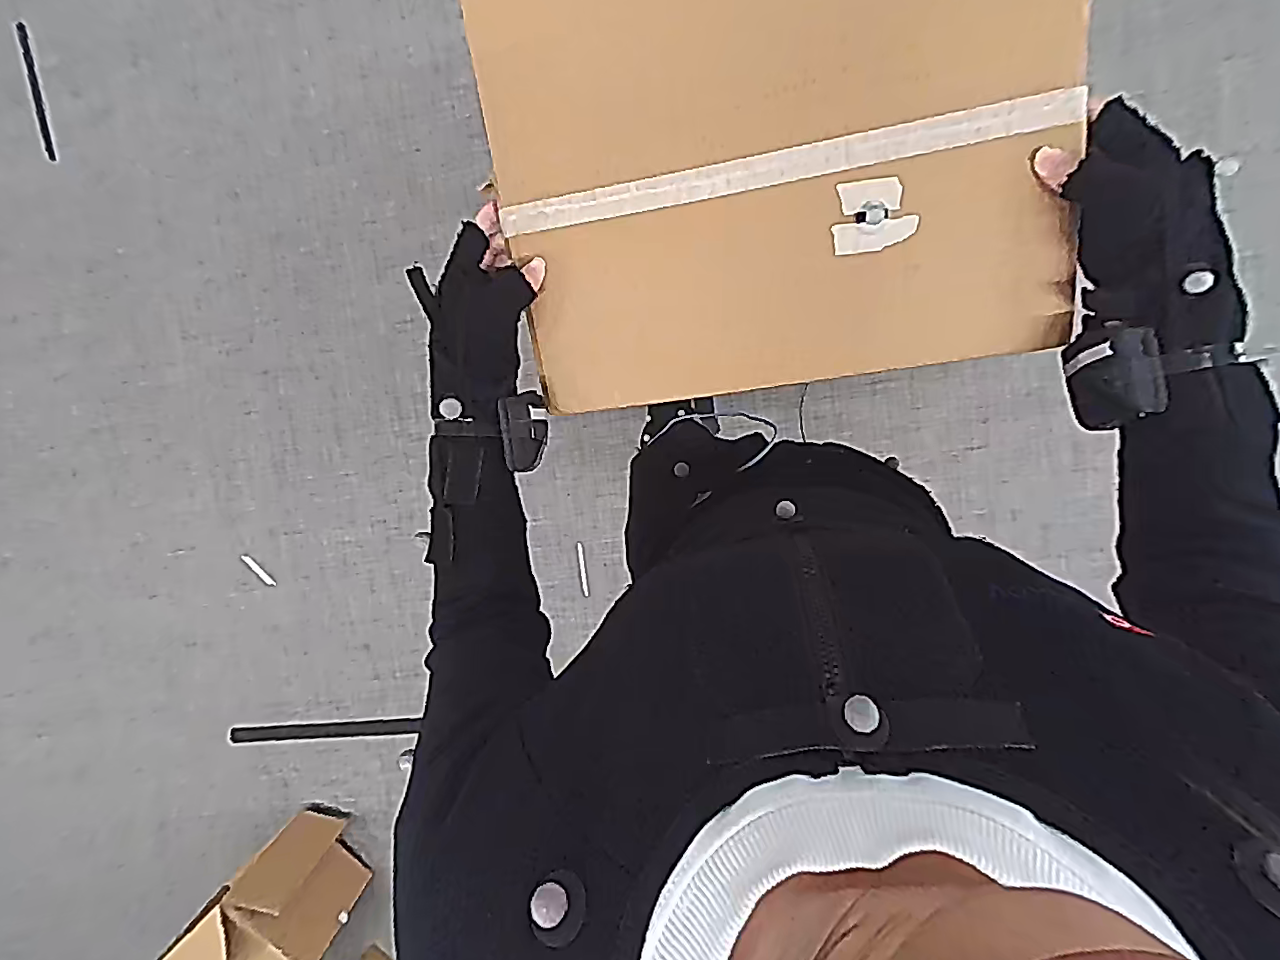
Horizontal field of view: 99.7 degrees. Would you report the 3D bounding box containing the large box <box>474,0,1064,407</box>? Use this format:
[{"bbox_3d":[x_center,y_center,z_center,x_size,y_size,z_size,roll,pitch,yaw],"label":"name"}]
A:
[{"bbox_3d":[0.110,-0.277,0.546,0.408,0.320,0.320,-7,107,9],"label":"large box"}]
